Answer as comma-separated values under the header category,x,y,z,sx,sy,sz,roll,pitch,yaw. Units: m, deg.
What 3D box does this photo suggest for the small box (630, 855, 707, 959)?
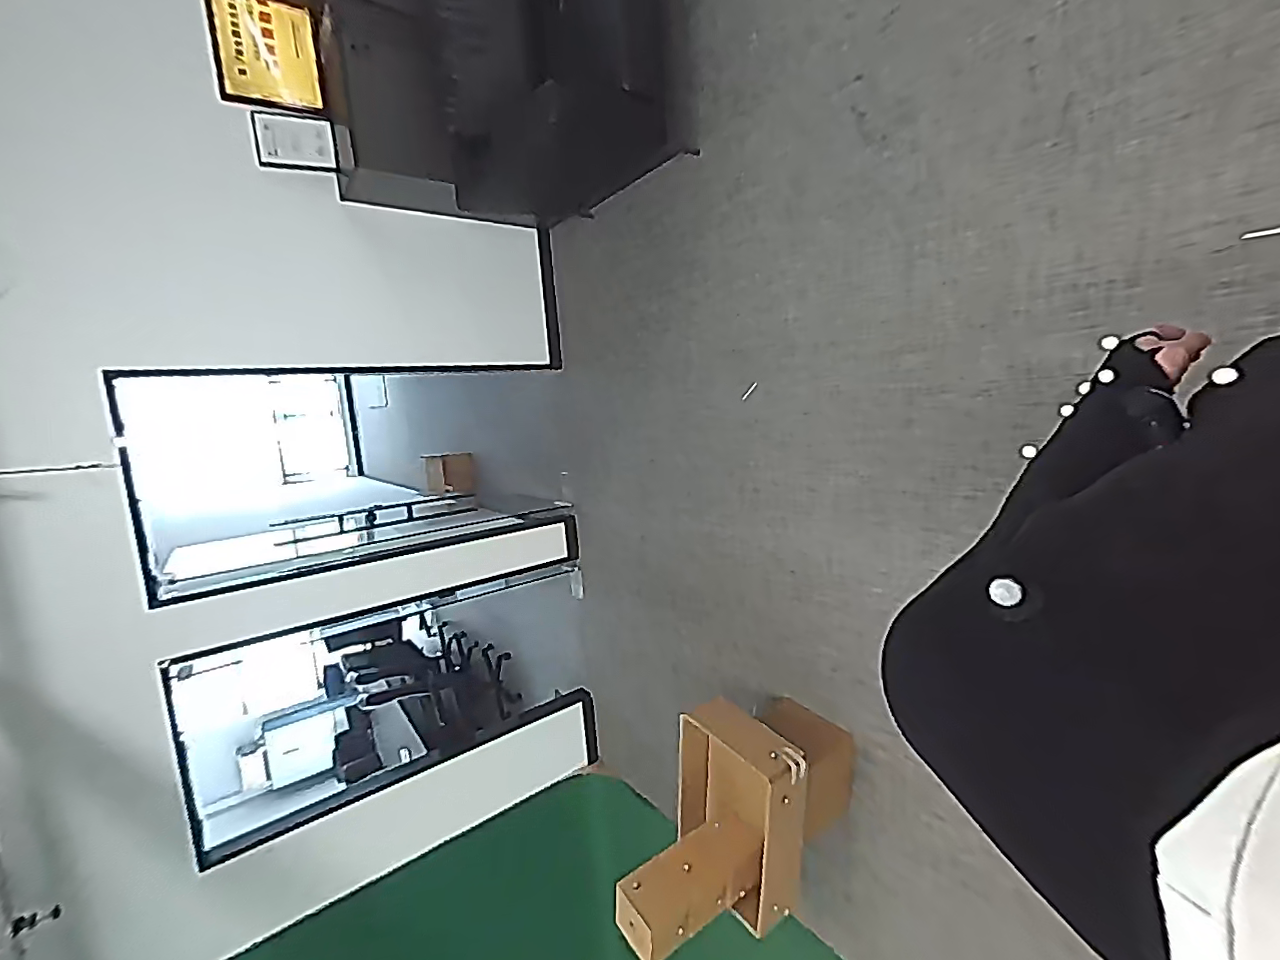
category,x,y,z,sx,sy,sz,roll,pitch,yaw
small box,0.087,1.324,1.690,0.179,0.176,0.168,19,115,49

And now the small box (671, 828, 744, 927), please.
category,x,y,z,sx,sy,sz,roll,pitch,yaw
small box,0.219,1.297,1.786,0.179,0.176,0.168,18,113,49
